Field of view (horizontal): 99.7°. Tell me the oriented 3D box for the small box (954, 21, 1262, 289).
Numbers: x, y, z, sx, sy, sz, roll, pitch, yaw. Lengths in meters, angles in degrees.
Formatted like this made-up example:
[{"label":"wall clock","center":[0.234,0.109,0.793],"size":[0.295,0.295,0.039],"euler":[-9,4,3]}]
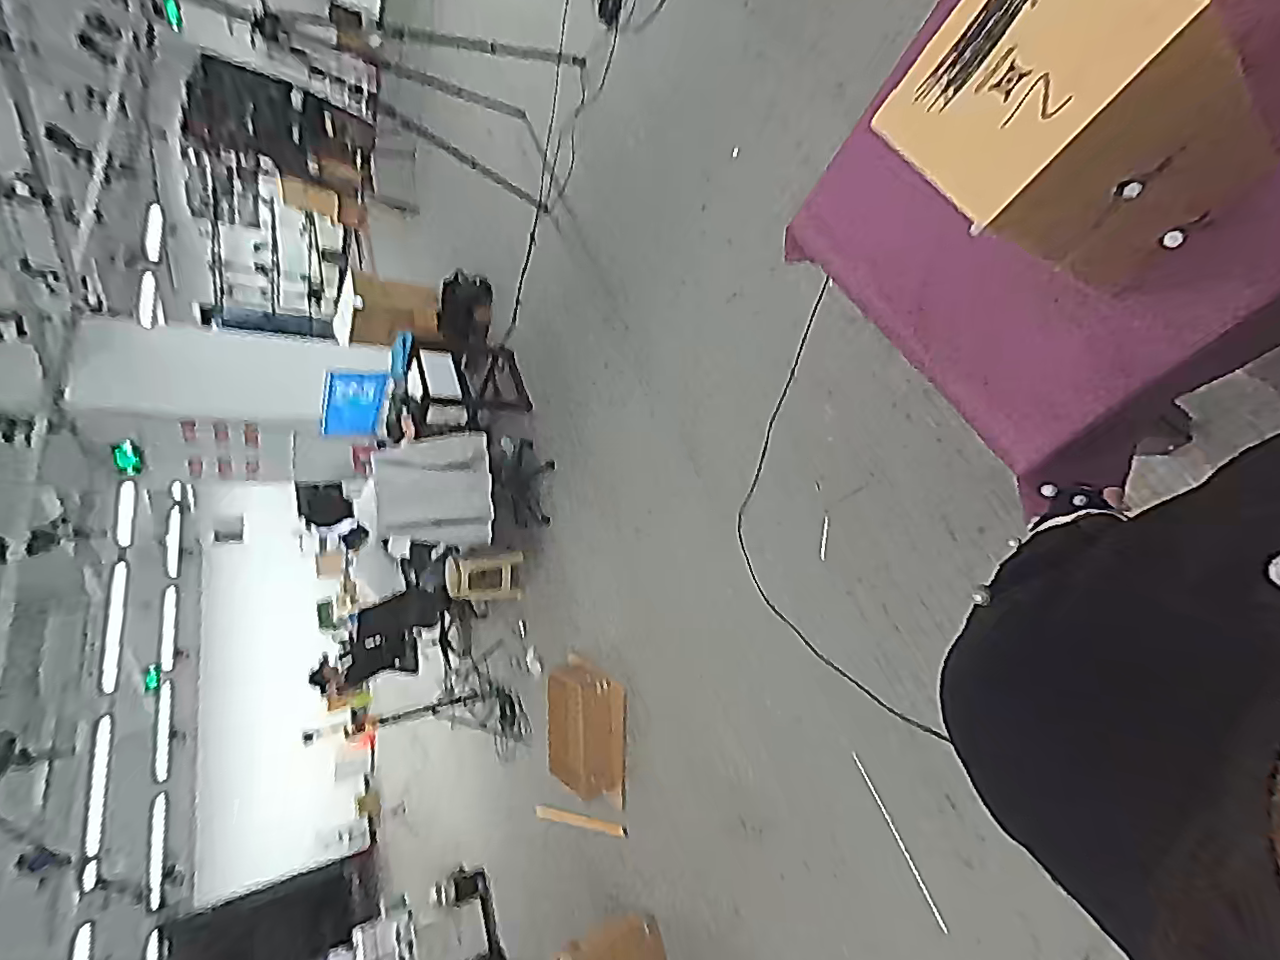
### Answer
[{"label":"small box","center":[0.496,-0.331,0.584],"size":[0.168,0.176,0.179],"euler":[-52,52,42]}]
